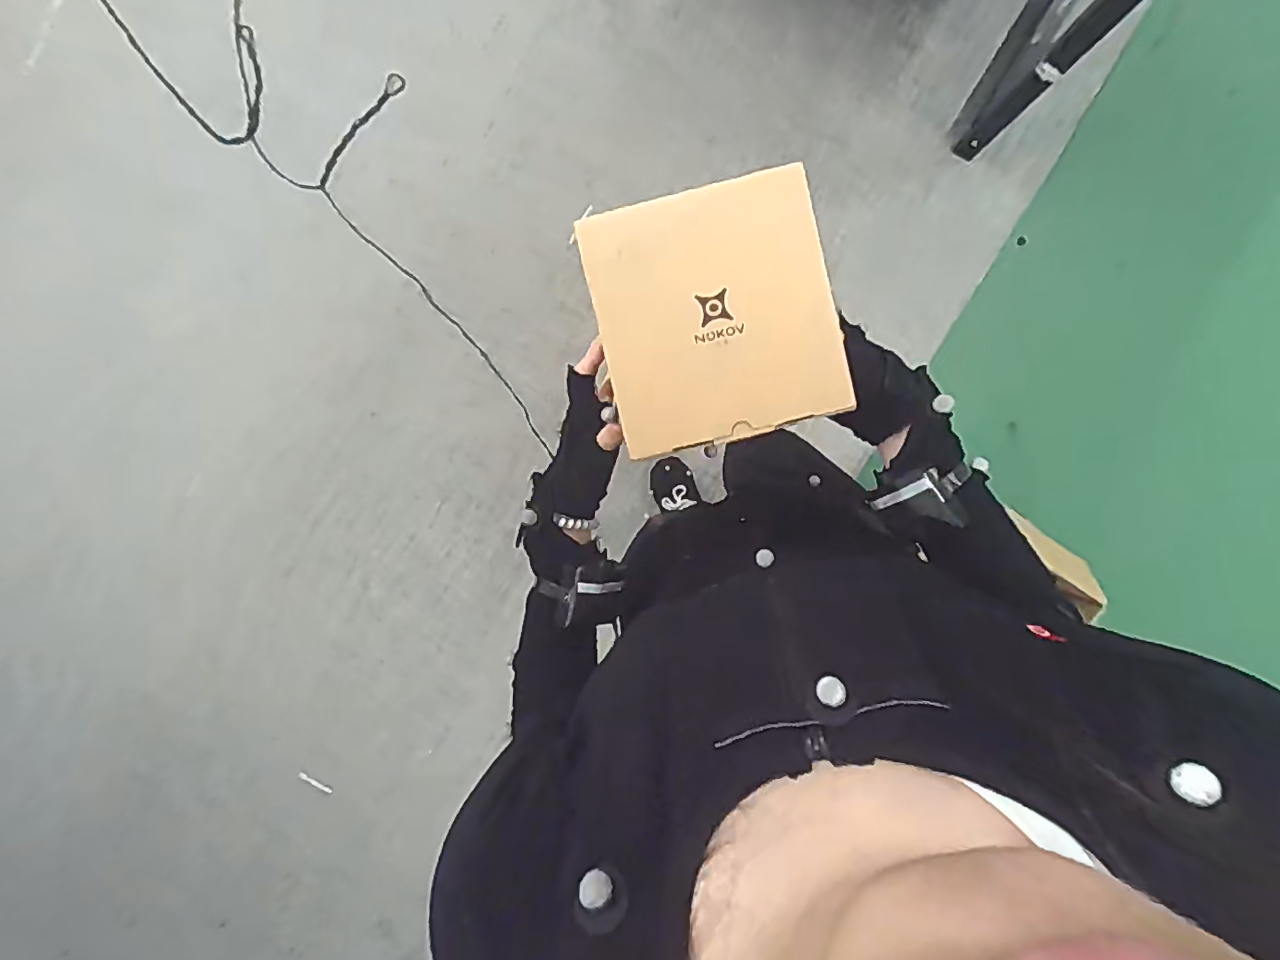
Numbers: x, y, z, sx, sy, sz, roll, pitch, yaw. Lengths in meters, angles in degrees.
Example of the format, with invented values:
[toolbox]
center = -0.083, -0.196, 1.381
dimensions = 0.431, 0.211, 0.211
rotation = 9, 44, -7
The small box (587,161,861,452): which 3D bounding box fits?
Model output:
[small box]
center = 0.058, -0.124, 0.458
dimensions = 0.168, 0.176, 0.179
rotation = -14, 93, 1
